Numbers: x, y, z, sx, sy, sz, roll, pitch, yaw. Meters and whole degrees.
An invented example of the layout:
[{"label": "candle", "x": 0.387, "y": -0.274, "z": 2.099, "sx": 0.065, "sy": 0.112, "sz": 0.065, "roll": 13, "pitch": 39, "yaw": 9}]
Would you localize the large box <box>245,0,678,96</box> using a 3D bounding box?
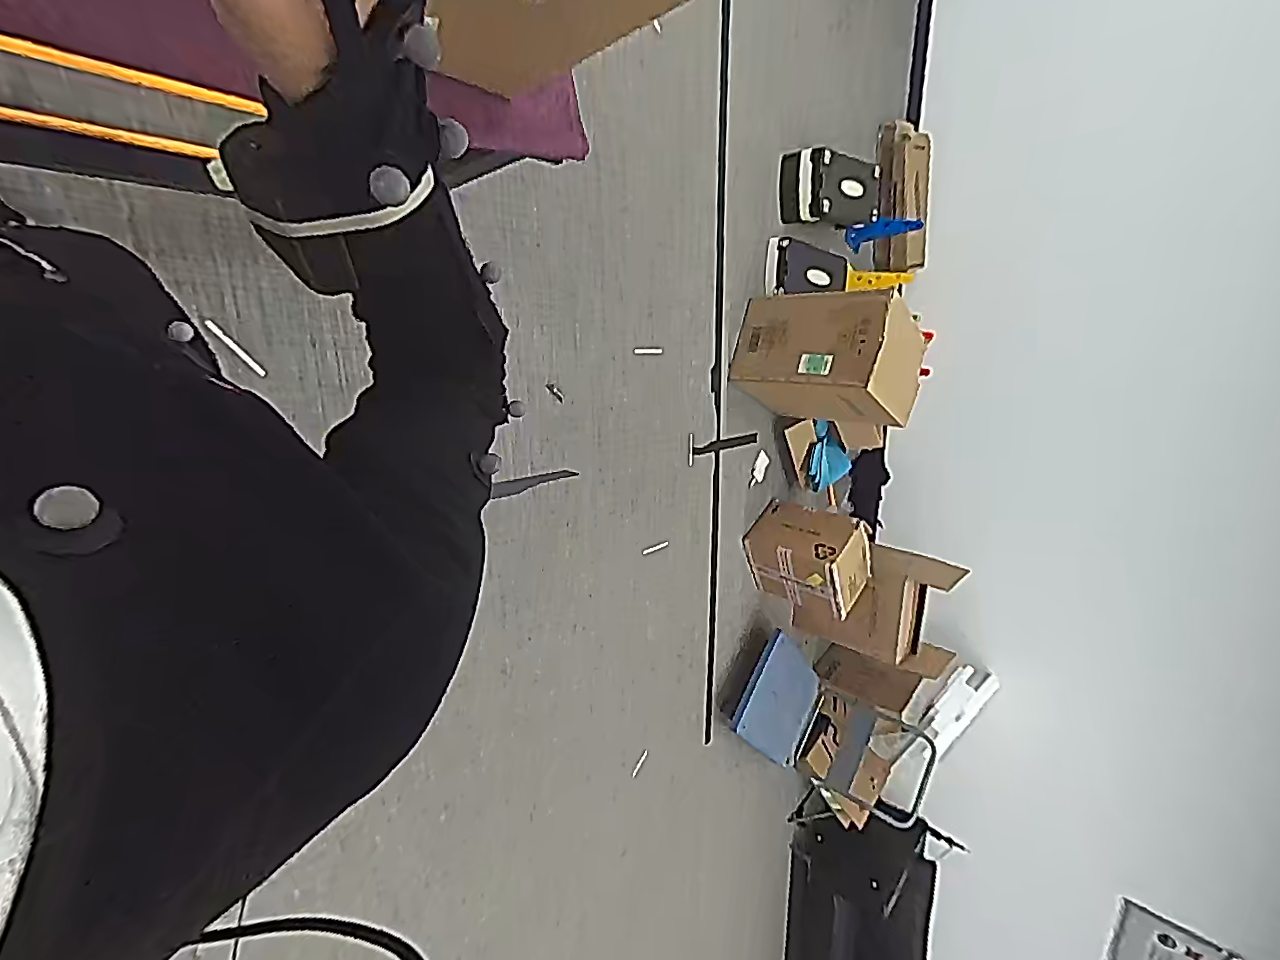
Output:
[{"label": "large box", "x": -0.166, "y": -0.634, "z": 0.453, "sx": 0.320, "sy": 0.320, "sz": 0.408, "roll": -16, "pitch": 110, "yaw": -46}]
